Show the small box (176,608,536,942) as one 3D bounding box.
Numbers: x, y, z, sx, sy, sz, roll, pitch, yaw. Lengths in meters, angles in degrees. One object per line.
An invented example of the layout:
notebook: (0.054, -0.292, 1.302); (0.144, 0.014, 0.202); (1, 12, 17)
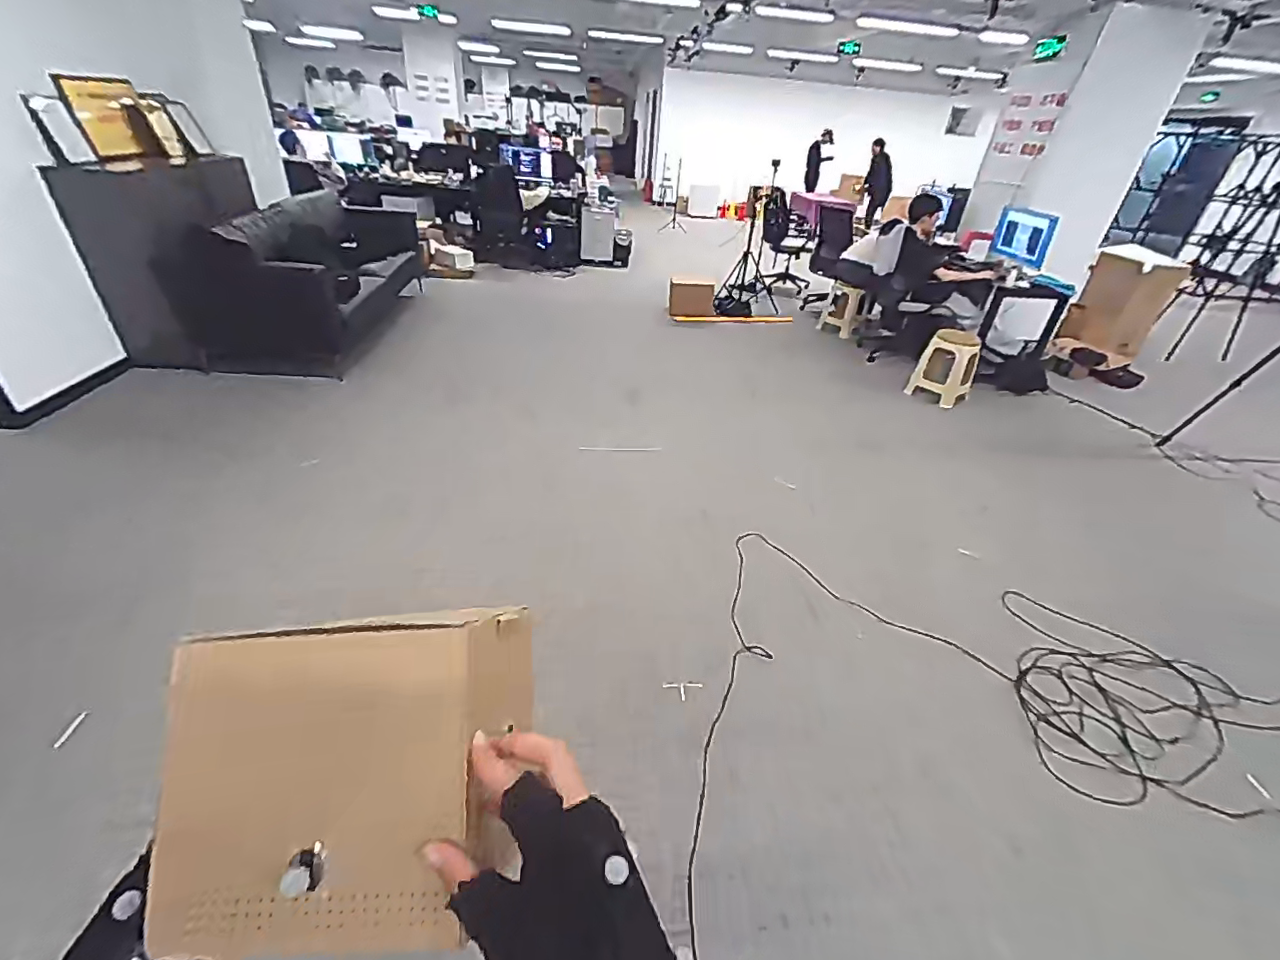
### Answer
small box: (-0.177, 0.187, 0.388); (0.179, 0.176, 0.168); (-4, -11, 2)
